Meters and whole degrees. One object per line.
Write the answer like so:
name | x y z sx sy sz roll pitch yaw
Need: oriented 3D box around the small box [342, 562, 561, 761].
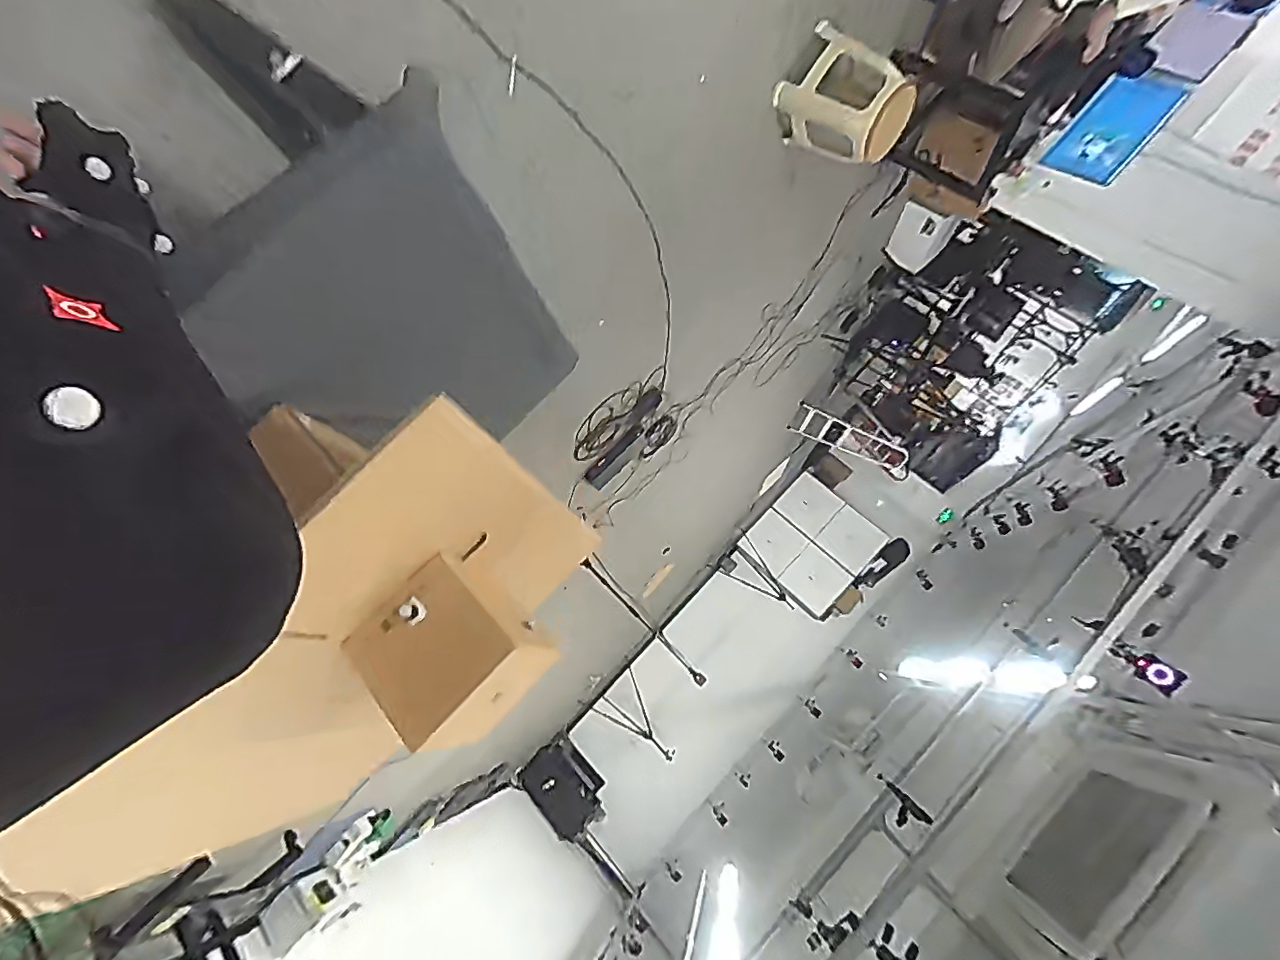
small box | -0.239 0.229 0.710 0.168 0.176 0.179 -47 158 -6
